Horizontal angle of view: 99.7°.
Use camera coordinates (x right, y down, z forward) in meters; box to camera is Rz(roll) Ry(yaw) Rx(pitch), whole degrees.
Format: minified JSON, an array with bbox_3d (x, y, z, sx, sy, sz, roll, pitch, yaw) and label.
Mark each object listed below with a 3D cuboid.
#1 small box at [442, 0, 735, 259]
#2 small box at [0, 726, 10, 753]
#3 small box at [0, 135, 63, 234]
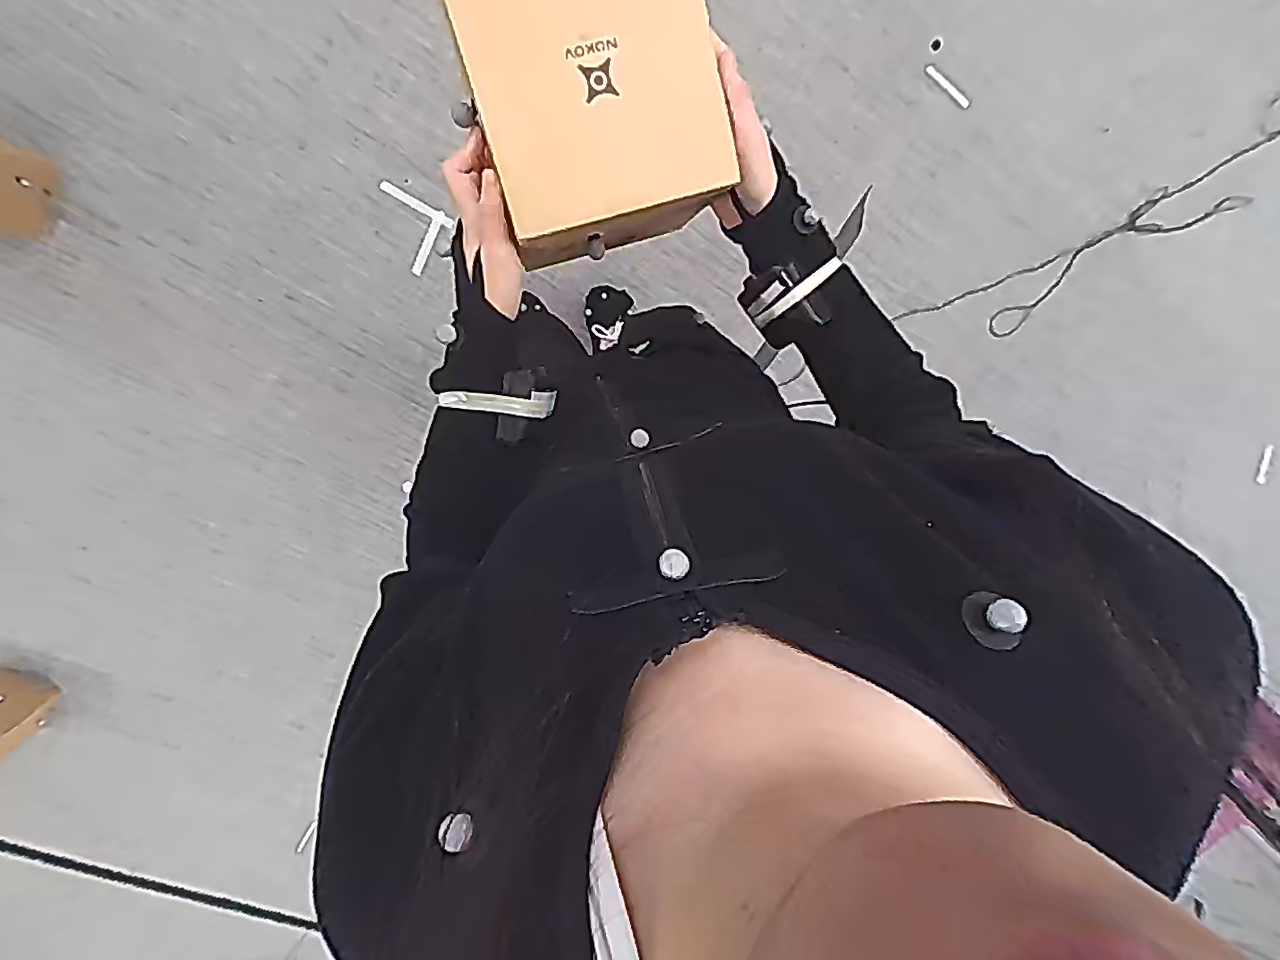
[{"bbox_3d":[-0.043,-0.288,0.431,0.168,0.176,0.179,-18,105,-6],"label":"small box"},{"bbox_3d":[-1.786,0.710,1.362,0.179,0.176,0.168,33,104,-16],"label":"small box"},{"bbox_3d":[-1.352,-0.622,1.100,0.179,0.176,0.168,25,105,-13],"label":"small box"}]
